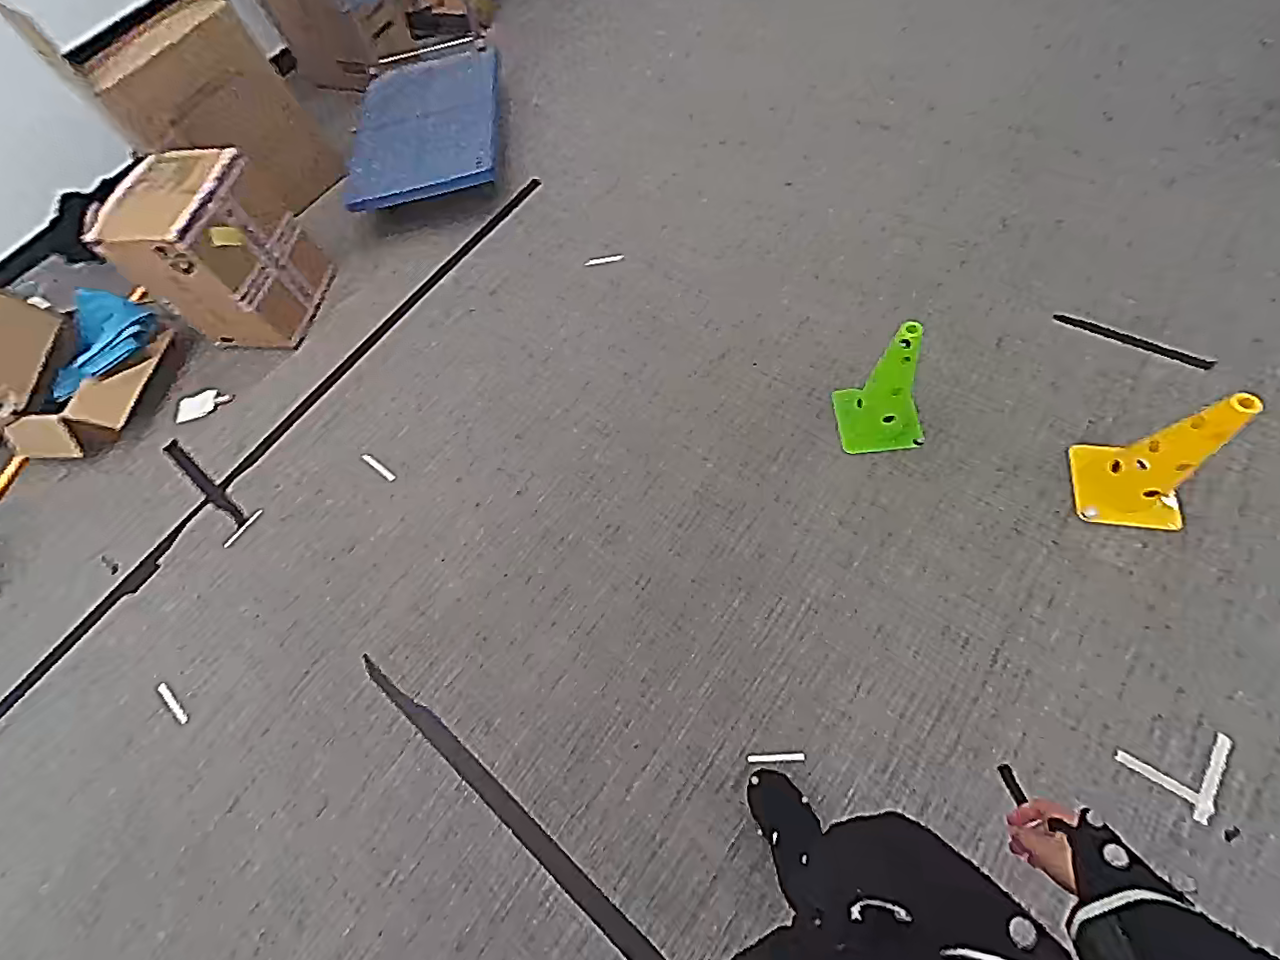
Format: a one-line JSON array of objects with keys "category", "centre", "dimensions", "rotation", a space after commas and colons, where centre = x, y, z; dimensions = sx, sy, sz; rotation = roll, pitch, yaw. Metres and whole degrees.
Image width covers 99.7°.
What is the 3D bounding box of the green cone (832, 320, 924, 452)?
[{"category": "green cone", "centre": [0.594, -0.246, 1.284], "dimensions": [0.202, 0.368, 0.200], "rotation": [-7, 63, 9]}]
